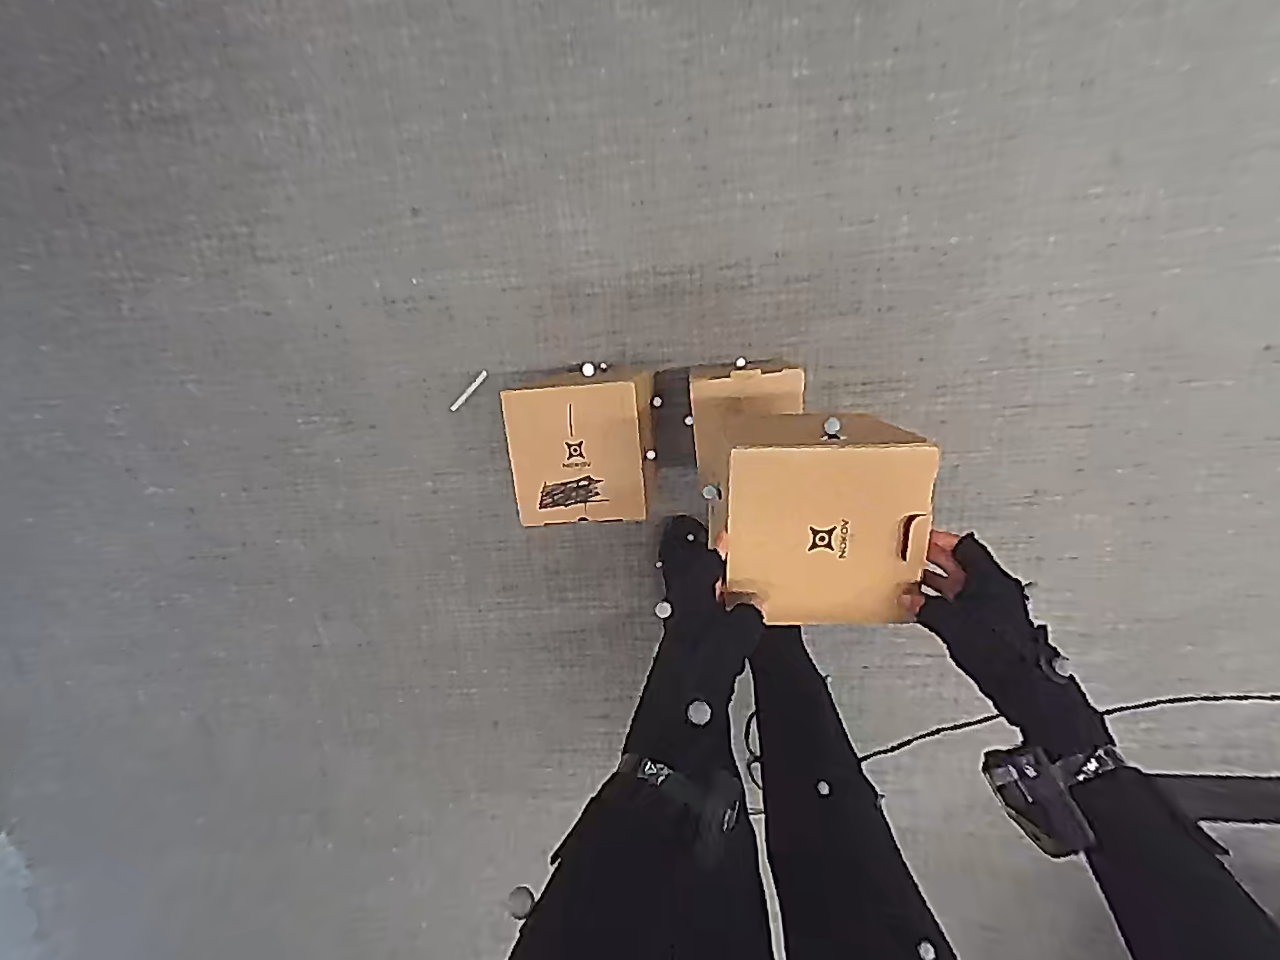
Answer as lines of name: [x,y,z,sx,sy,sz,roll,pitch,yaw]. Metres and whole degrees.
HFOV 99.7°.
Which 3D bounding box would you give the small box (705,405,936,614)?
small box: [0.160,0.019,0.545,0.179,0.176,0.168,-1,107,1]
